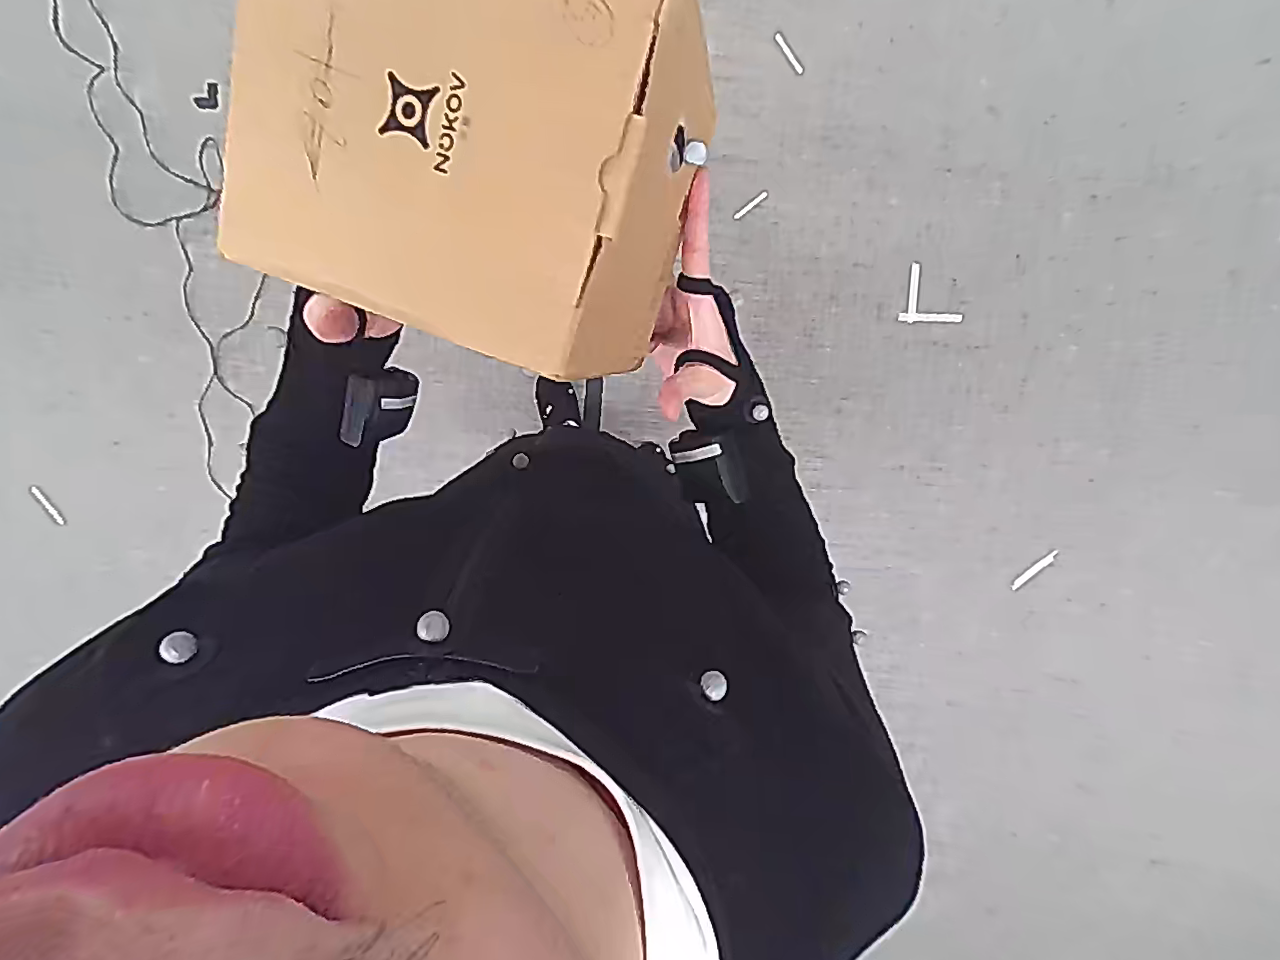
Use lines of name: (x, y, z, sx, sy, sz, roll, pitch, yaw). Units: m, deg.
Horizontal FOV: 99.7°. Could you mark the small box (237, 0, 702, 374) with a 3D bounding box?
small box: (-0.073, -0.169, 0.306, 0.179, 0.176, 0.168, 21, 106, 6)
